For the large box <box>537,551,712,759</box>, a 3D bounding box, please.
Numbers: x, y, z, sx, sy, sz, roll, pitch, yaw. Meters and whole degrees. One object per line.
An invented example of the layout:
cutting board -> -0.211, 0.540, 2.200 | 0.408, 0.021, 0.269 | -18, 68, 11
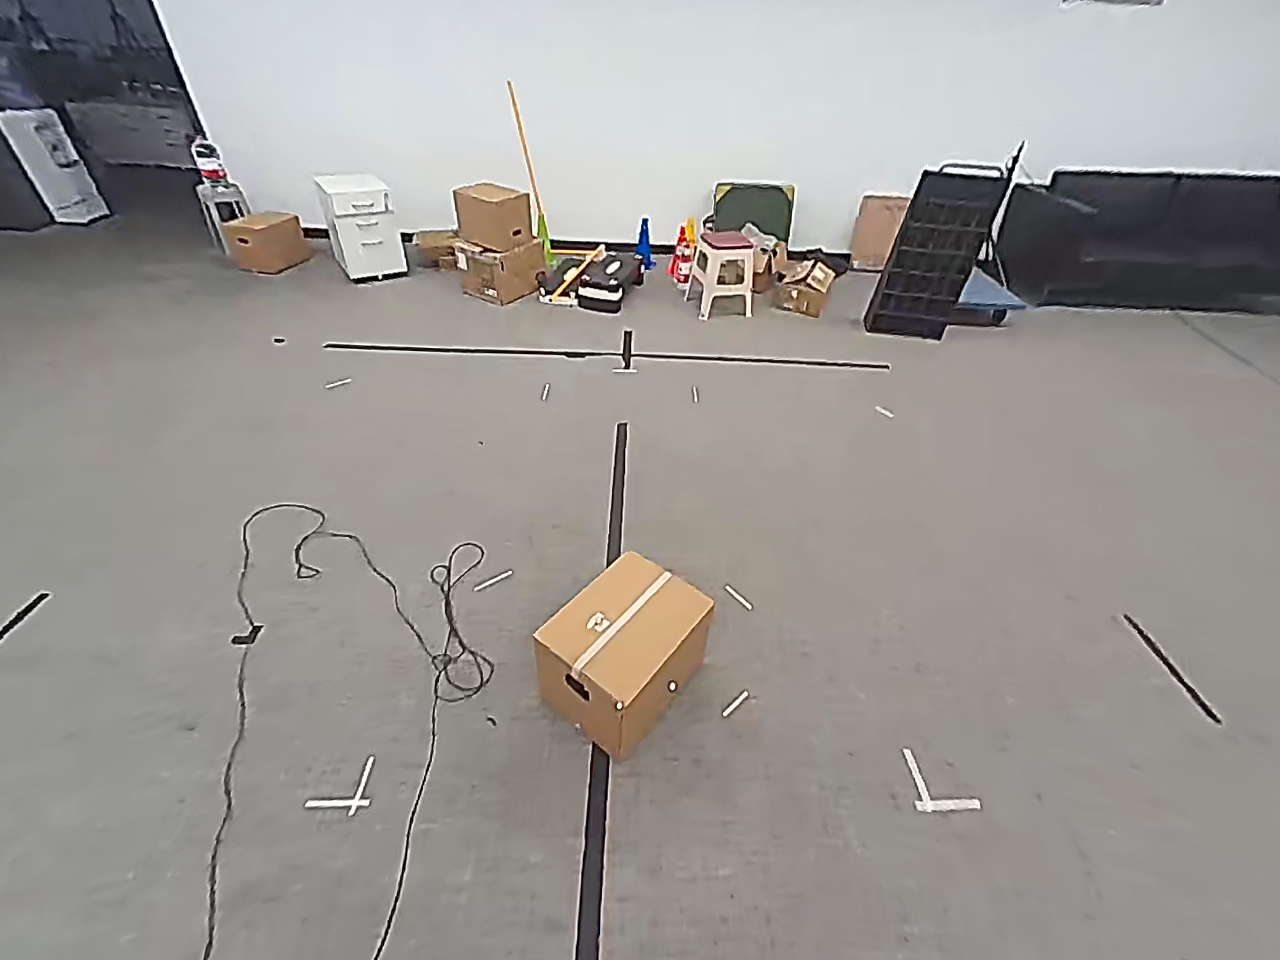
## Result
large box -> -0.039, 0.489, 1.557 | 0.320, 0.320, 0.408 | 28, 46, 27
